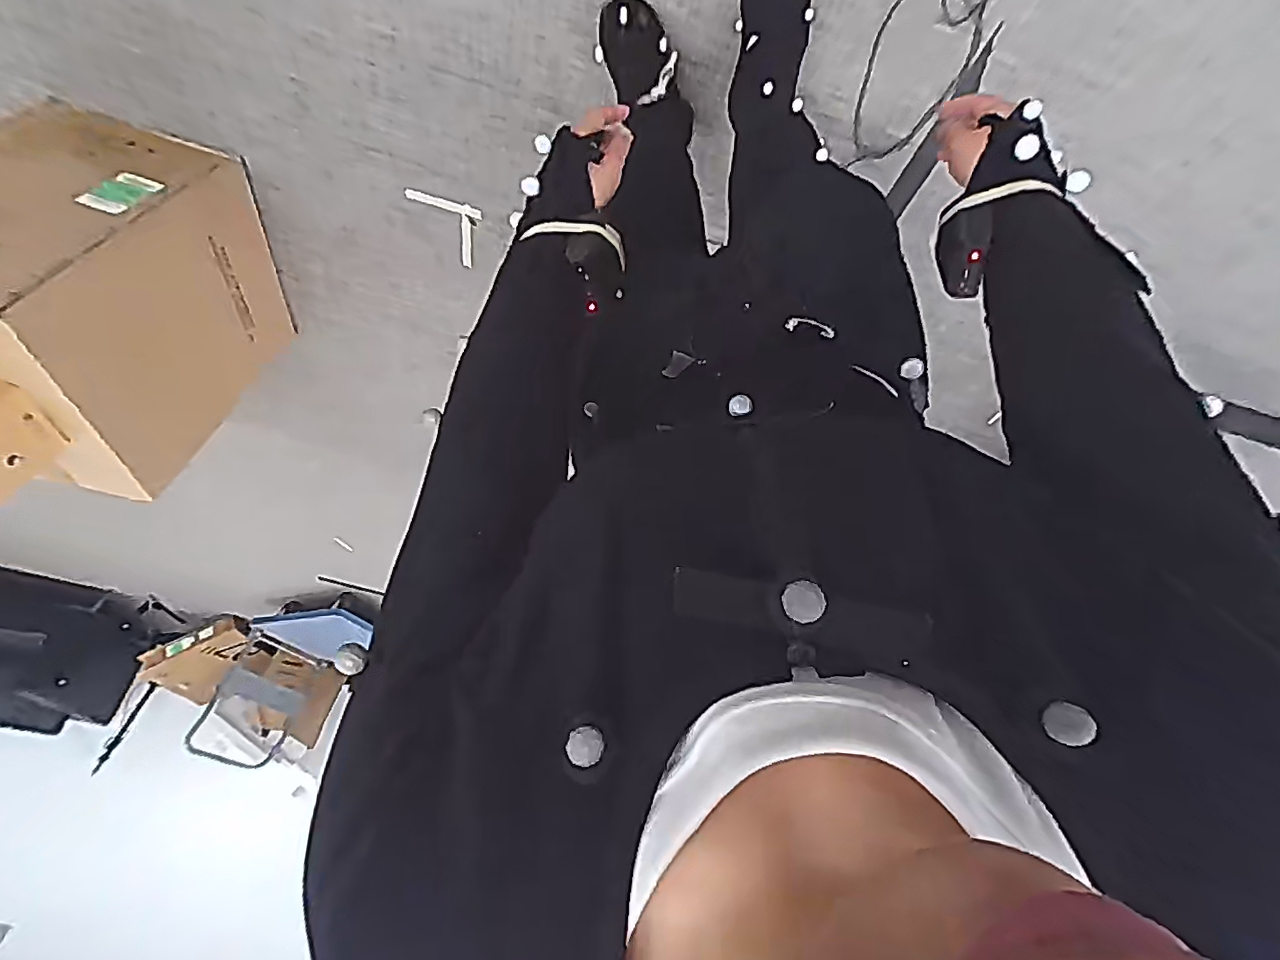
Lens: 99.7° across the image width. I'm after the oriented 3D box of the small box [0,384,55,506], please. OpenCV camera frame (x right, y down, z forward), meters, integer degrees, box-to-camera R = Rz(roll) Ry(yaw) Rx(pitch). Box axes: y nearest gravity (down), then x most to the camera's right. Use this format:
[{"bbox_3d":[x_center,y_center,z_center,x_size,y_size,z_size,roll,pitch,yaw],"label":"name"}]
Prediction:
[{"bbox_3d":[-1.189,-0.080,0.933,0.179,0.176,0.168,17,142,-8],"label":"small box"}]
